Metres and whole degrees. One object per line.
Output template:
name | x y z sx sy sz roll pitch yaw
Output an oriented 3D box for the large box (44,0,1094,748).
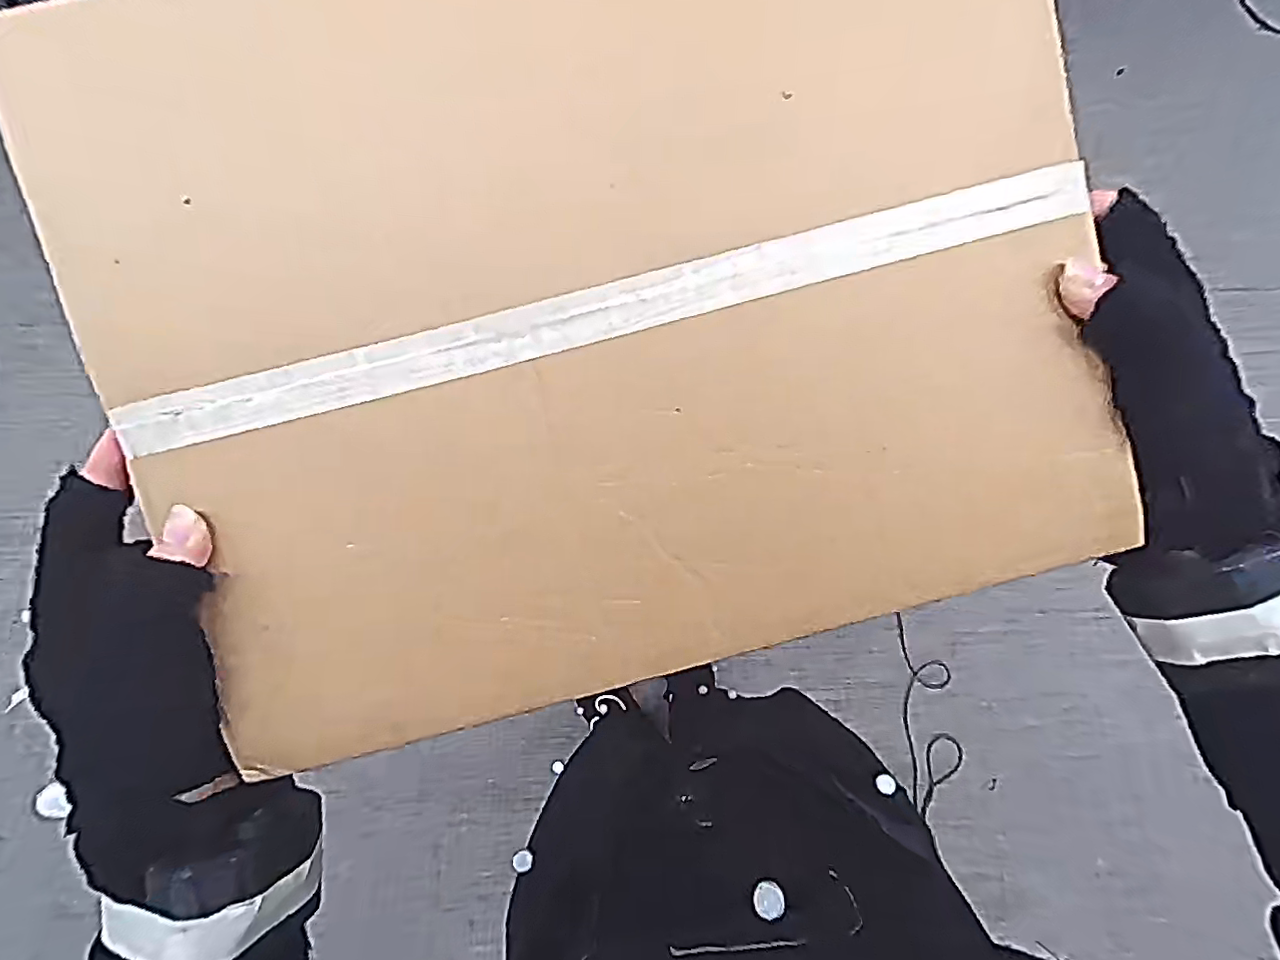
large box | -0.017 -0.088 0.383 0.408 0.320 0.320 -14 95 -1
